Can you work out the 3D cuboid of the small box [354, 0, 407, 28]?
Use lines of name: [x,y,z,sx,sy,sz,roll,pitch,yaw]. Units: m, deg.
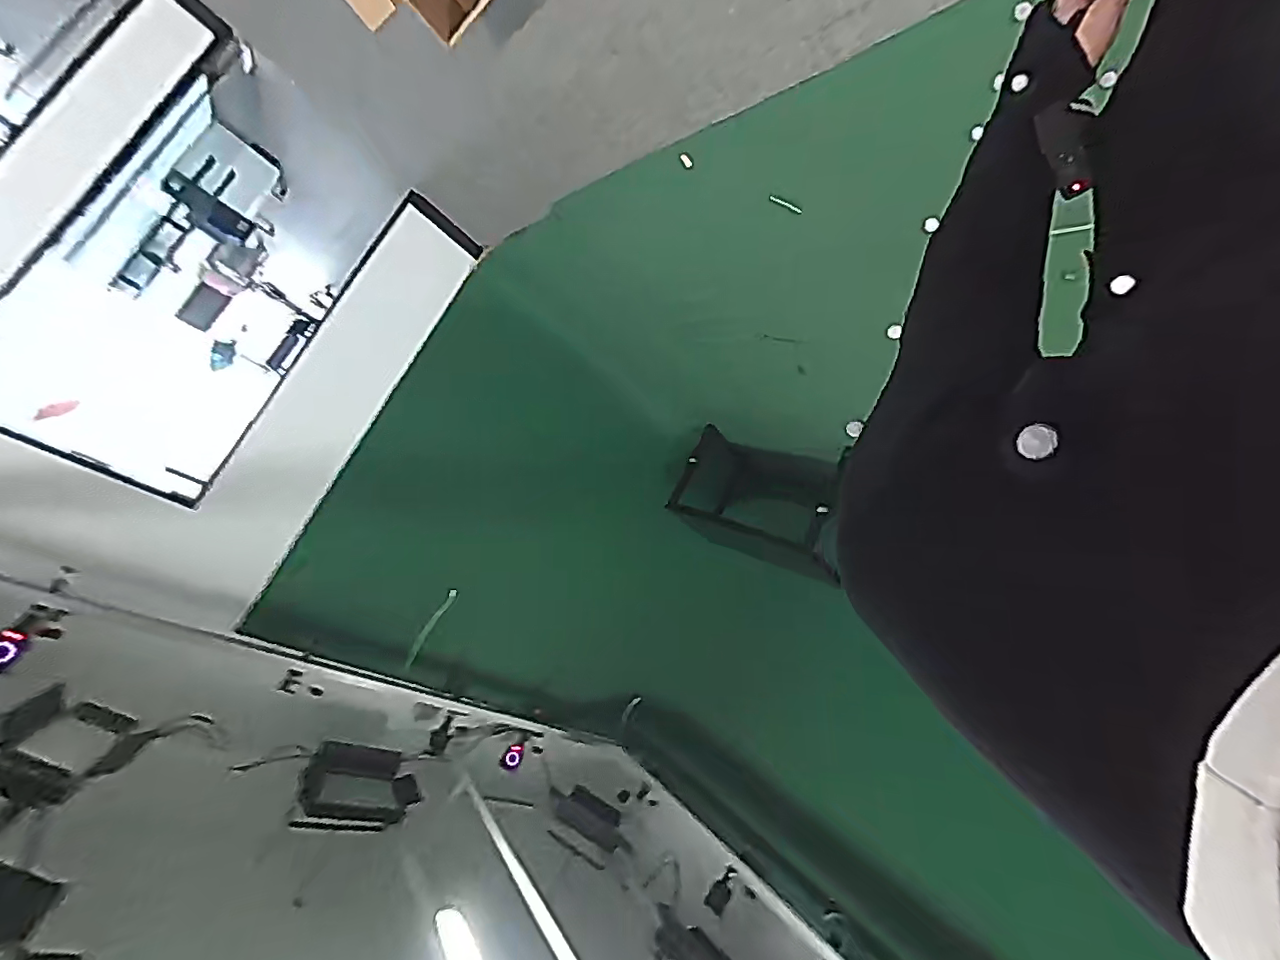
small box: [-0.663,-1.322,1.382,0.179,0.176,0.168,18,162,43]
